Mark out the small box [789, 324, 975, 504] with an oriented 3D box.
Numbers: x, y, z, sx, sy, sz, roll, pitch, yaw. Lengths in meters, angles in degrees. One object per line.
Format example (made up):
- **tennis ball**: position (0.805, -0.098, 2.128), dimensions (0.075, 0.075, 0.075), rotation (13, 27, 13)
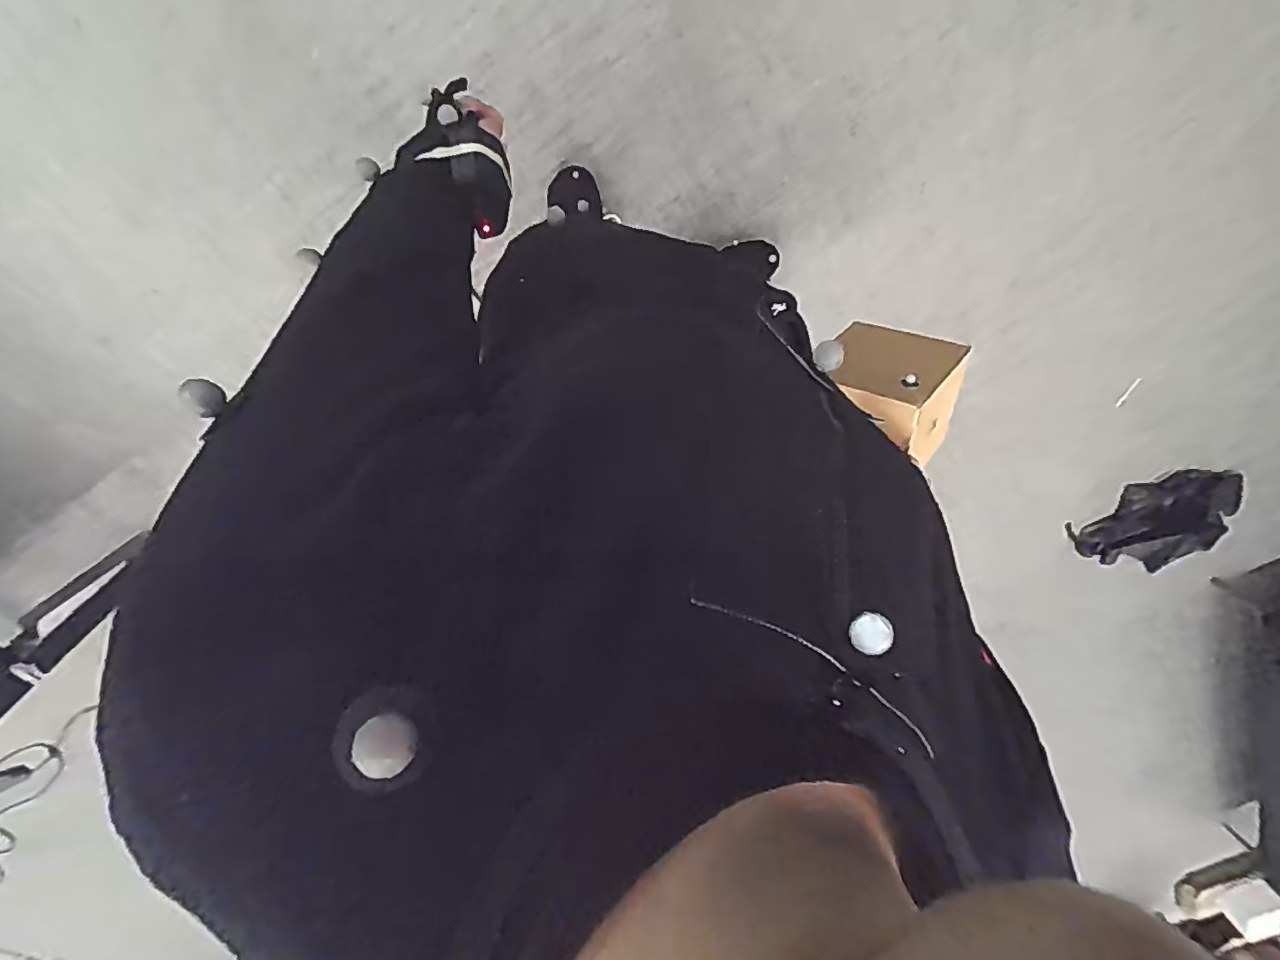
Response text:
- **small box**: position (0.336, -0.103, 0.772), dimensions (0.179, 0.176, 0.168), rotation (-39, 139, -29)
